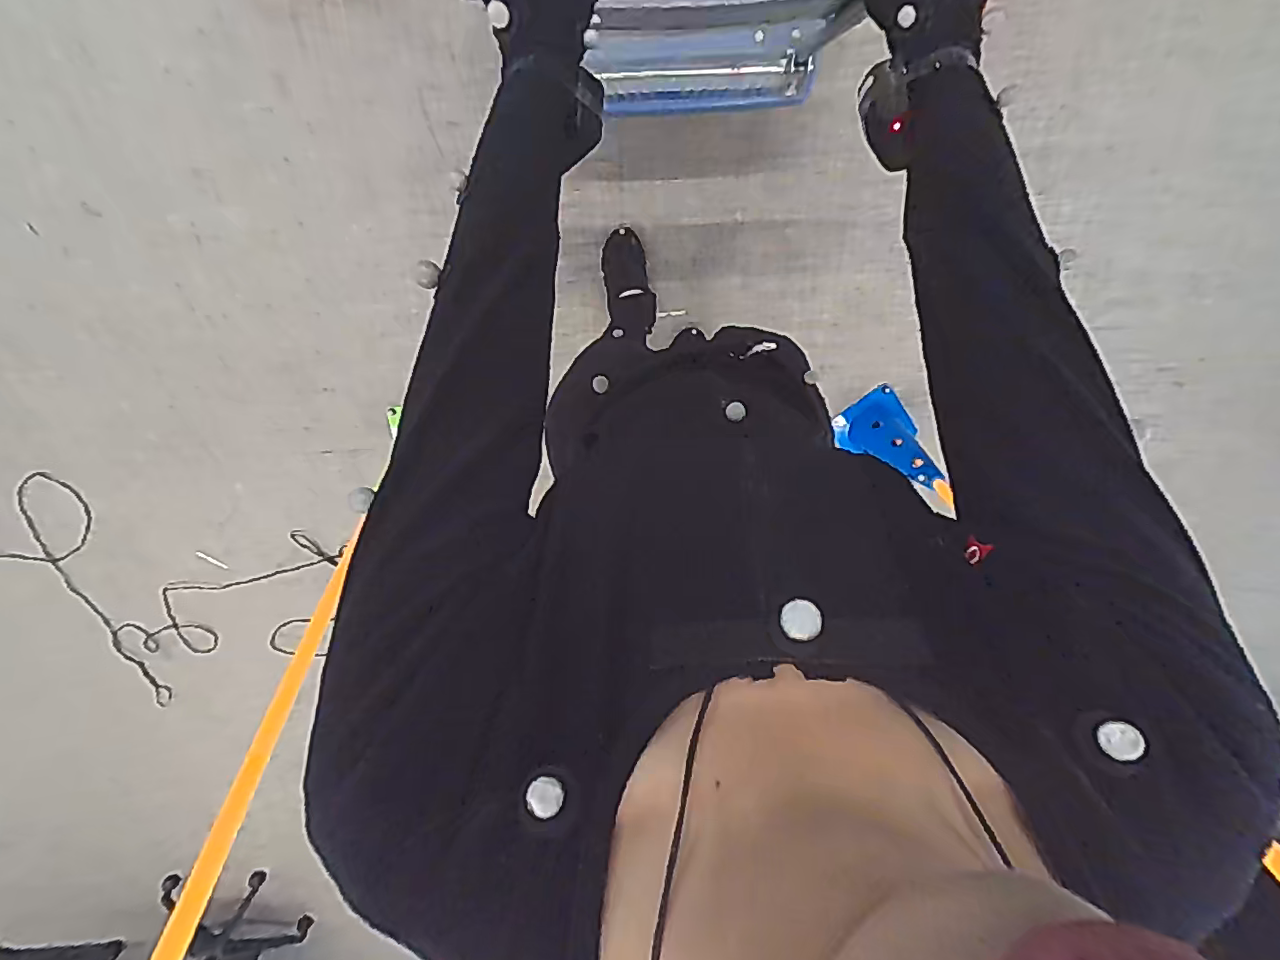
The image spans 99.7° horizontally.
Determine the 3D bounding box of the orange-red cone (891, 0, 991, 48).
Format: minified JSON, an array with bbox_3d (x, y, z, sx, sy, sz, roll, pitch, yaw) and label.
[{"bbox_3d":[0.641,-0.957,0.963,0.198,0.360,0.199,8,115,-4],"label":"orange-red cone"}]
